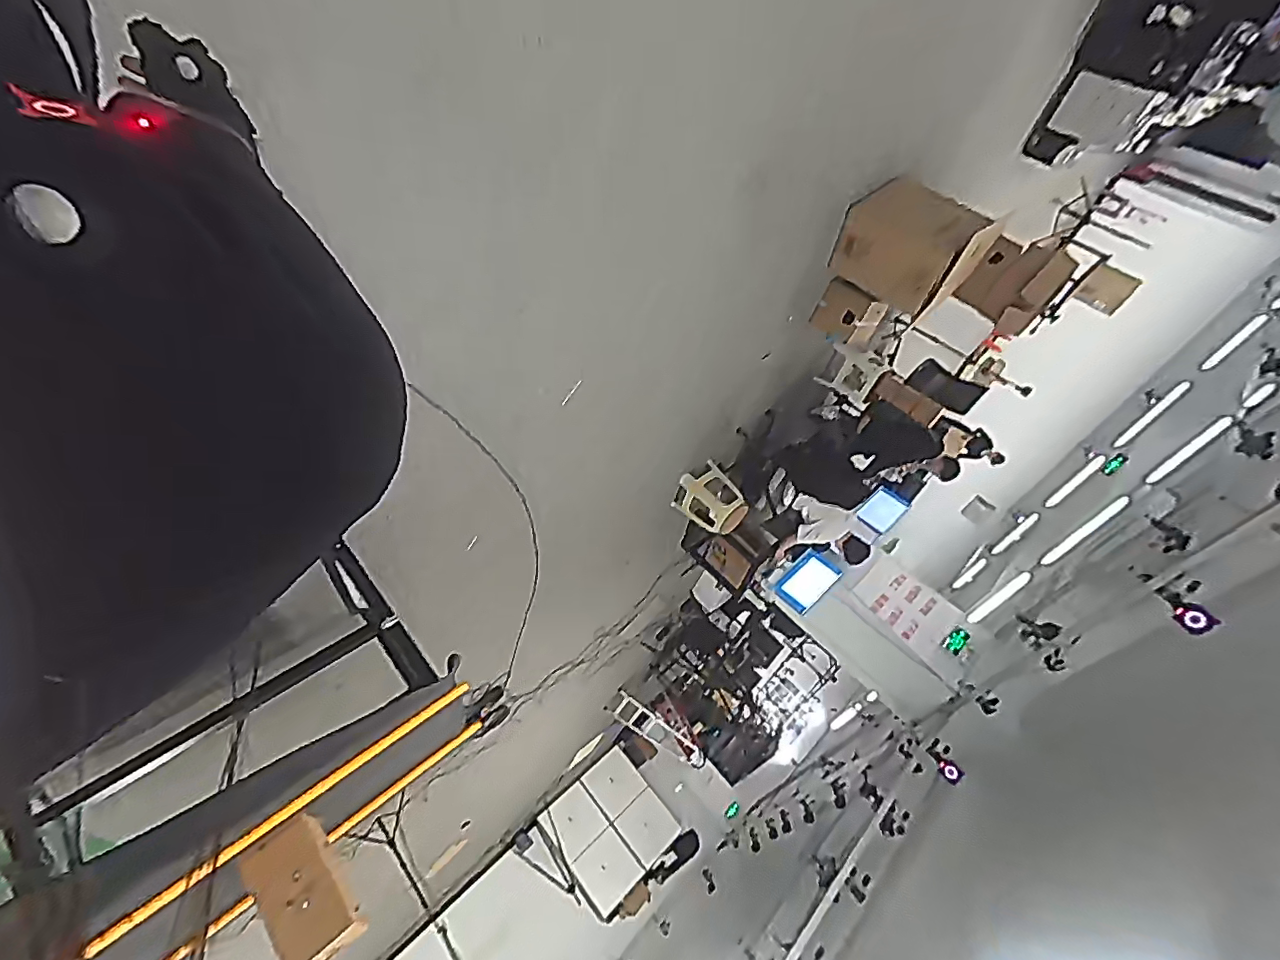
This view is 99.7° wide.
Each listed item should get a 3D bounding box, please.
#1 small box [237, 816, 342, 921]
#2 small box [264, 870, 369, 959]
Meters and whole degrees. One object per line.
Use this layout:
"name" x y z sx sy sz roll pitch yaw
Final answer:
"small box" -0.955 1.062 1.481 0.168 0.176 0.179 -33 153 -32
"small box" -0.844 1.167 1.418 0.168 0.176 0.179 -31 151 -33
